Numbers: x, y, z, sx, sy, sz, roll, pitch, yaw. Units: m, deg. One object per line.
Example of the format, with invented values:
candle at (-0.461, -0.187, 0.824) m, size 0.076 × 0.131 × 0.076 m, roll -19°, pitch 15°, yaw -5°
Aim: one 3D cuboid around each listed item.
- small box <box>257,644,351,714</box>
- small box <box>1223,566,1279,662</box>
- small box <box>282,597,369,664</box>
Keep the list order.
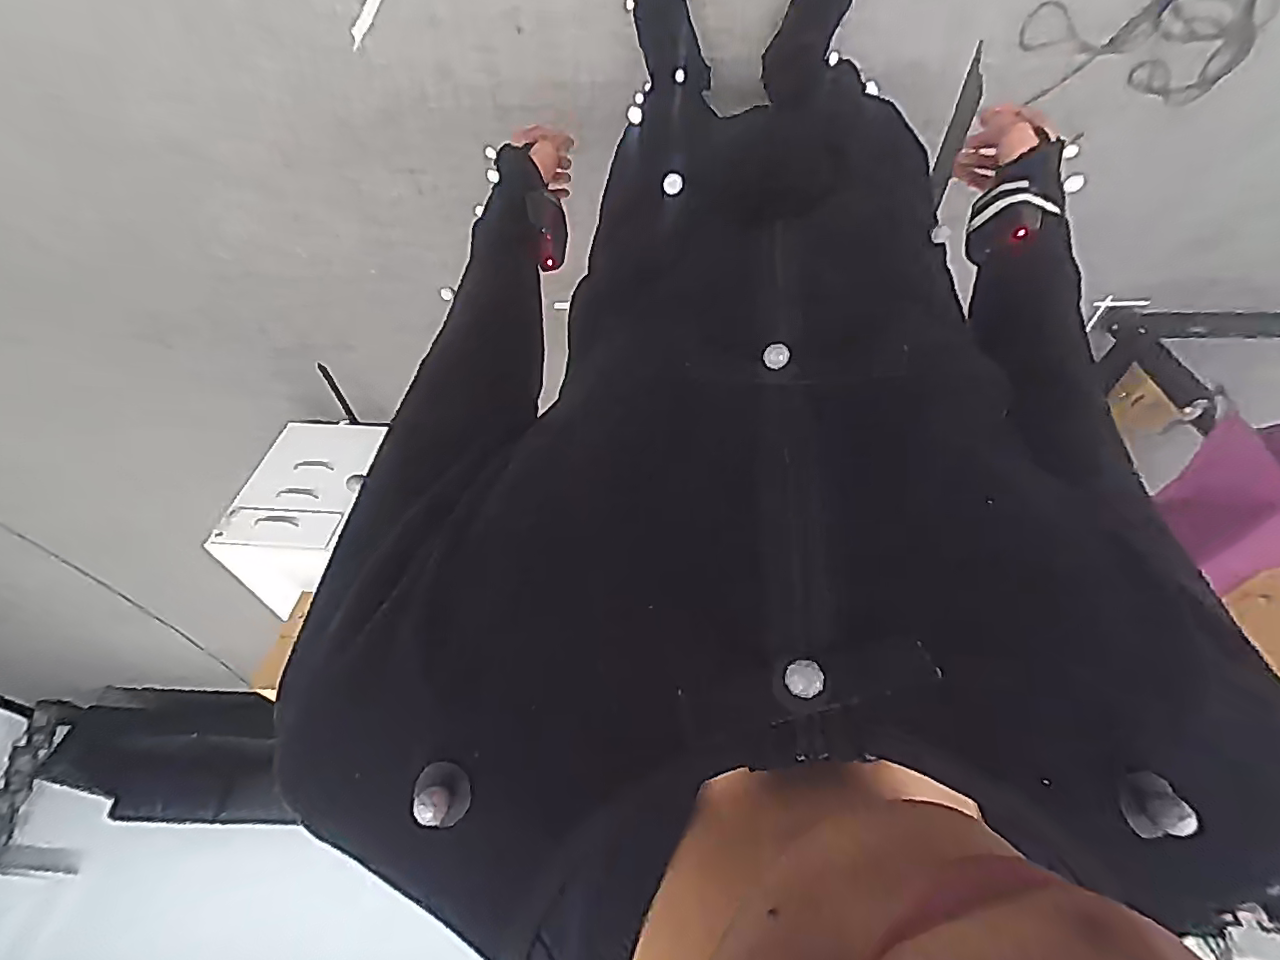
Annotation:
small box at (-1.084, 0.647, 1.761) m, size 0.168 × 0.176 × 0.179 m, roll 1°, pitch 141°, yaw 5°
small box at (1.538, 0.306, 1.241) m, size 0.179 × 0.176 × 0.168 m, roll 1°, pitch 139°, yaw 3°
small box at (-1.075, 0.519, 1.863) m, size 0.179 × 0.176 × 0.168 m, roll 3°, pitch 139°, yaw 1°
